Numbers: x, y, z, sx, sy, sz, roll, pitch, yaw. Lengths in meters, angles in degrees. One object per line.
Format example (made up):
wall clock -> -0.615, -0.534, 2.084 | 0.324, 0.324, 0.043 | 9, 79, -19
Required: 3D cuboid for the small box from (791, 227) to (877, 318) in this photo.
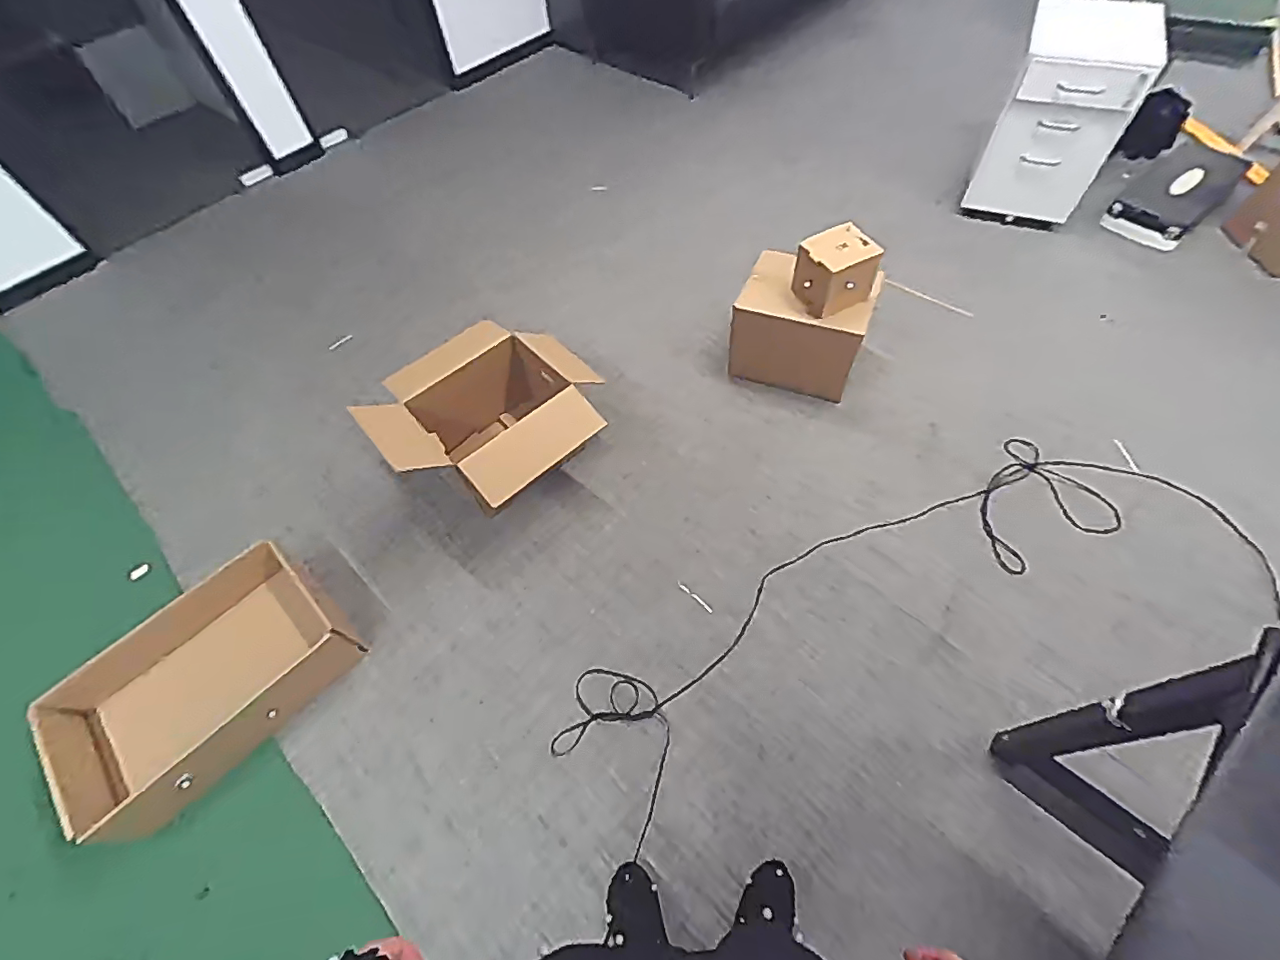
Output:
small box -> 0.572, -0.618, 1.626 | 0.179, 0.176, 0.168 | -25, 59, -9
